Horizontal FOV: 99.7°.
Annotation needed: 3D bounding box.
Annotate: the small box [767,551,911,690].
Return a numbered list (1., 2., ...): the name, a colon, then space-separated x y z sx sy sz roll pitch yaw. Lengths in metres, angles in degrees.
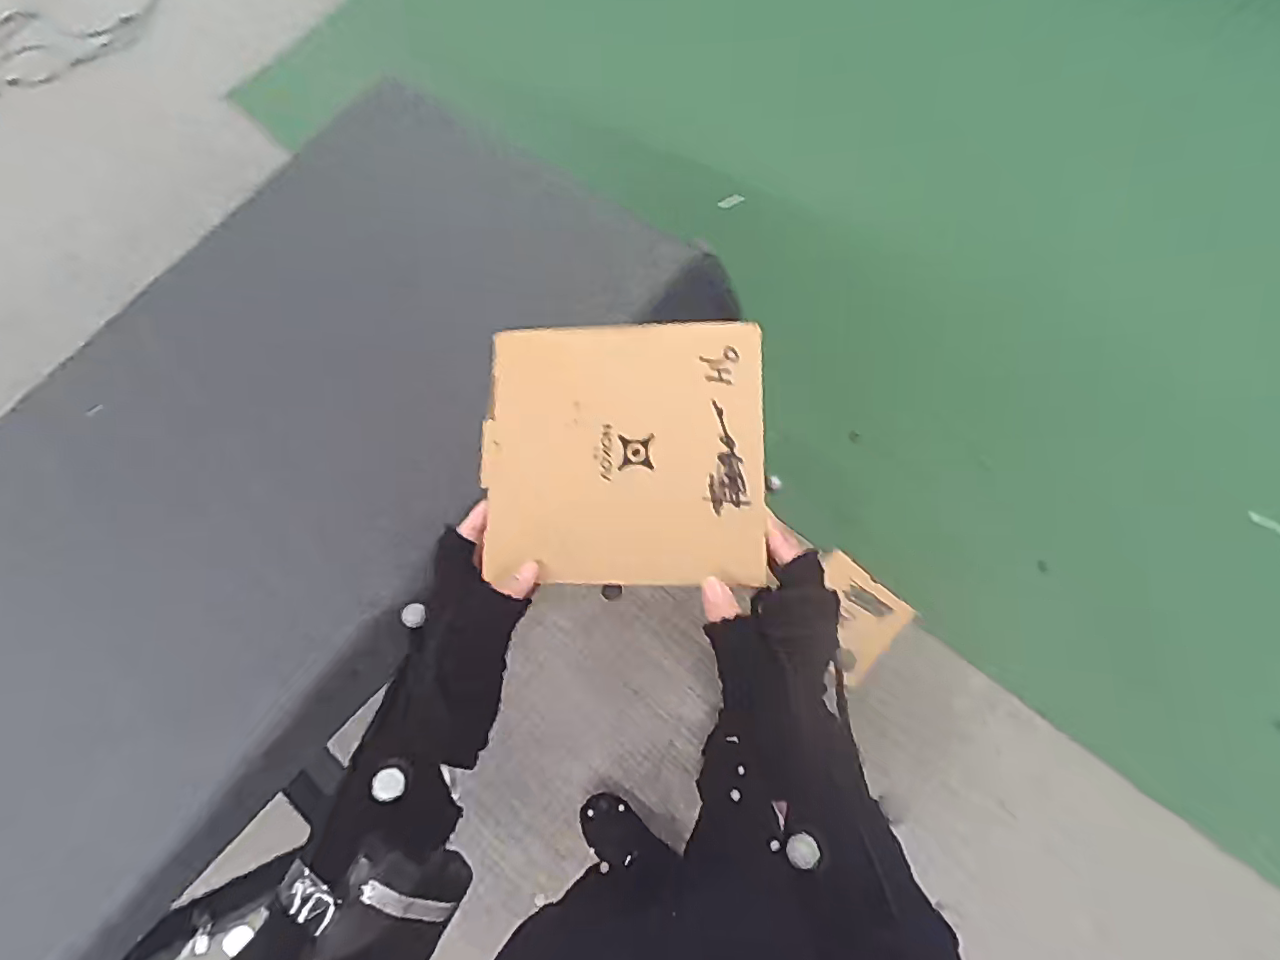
1. small box: 0.354 0.259 1.003 0.179 0.176 0.168 -45 73 -7
